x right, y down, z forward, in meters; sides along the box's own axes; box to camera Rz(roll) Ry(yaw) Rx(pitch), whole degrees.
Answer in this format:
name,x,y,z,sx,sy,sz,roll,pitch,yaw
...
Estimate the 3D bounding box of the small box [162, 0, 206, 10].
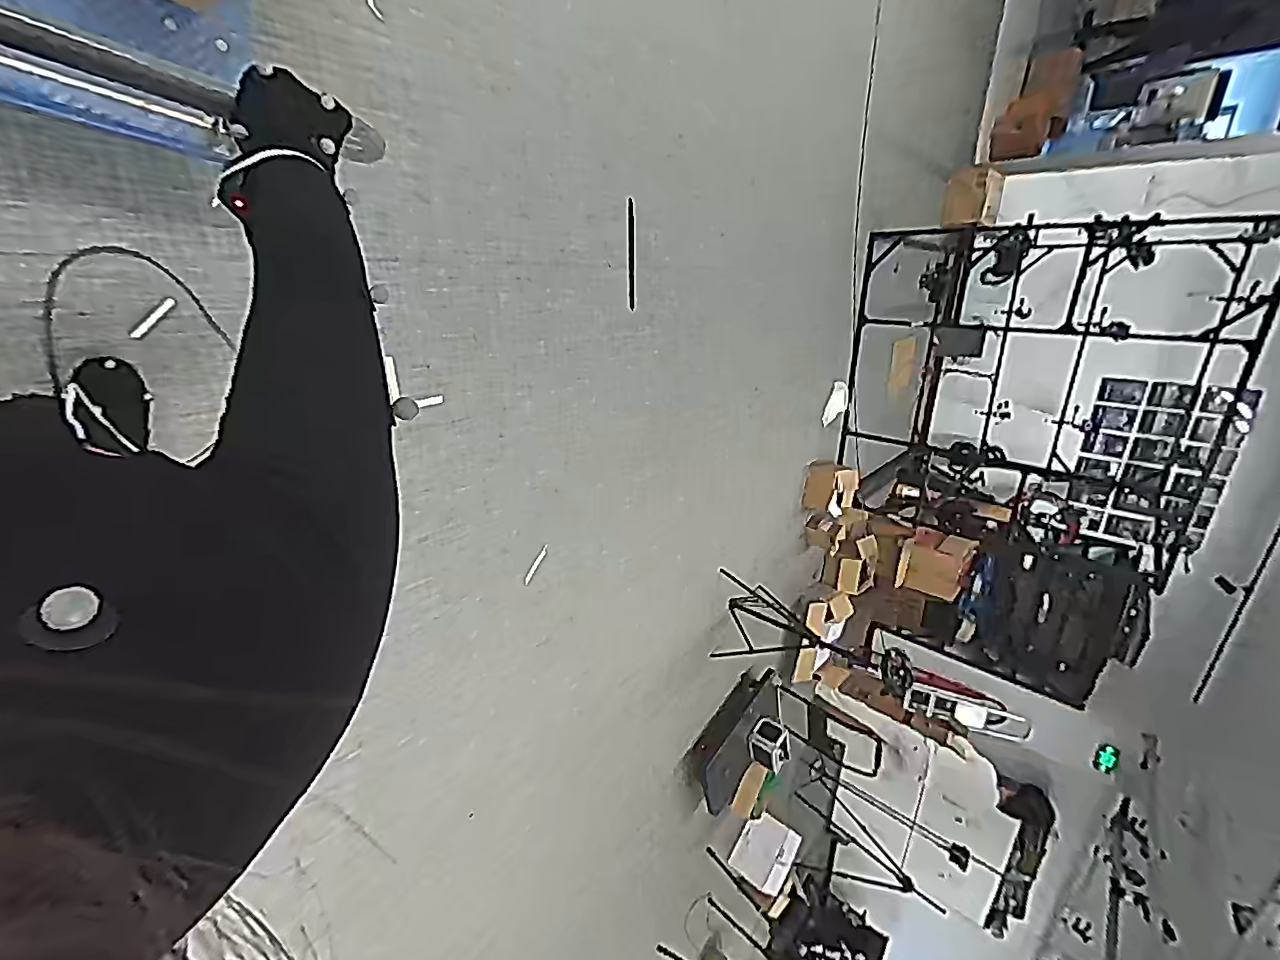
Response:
name,x,y,z,sx,sy,sz,roll,pitch,yaw
small box,-0.731,-0.832,0.783,0.179,0.176,0.168,-4,112,-50
